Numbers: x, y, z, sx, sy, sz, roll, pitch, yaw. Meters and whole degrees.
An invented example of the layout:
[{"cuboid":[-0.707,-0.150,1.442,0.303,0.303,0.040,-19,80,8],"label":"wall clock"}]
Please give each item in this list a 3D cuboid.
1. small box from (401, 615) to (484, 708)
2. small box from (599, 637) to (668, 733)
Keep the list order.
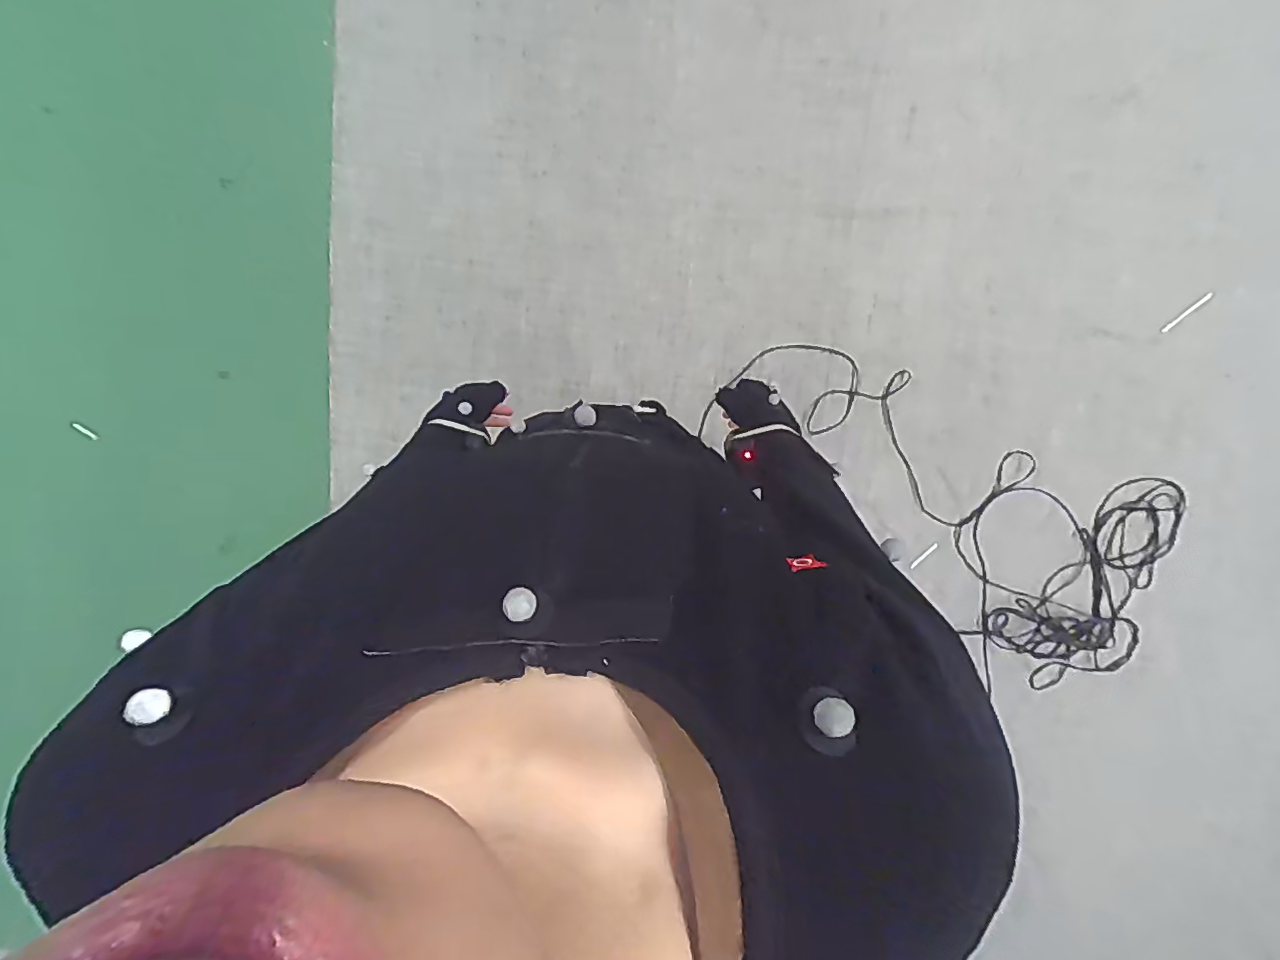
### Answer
[{"cuboid":[-0.541,0.497,1.496,0.168,0.176,0.179,7,97,1],"label":"small box"},{"cuboid":[-0.015,0.558,1.485,0.168,0.176,0.179,7,98,0],"label":"small box"}]
